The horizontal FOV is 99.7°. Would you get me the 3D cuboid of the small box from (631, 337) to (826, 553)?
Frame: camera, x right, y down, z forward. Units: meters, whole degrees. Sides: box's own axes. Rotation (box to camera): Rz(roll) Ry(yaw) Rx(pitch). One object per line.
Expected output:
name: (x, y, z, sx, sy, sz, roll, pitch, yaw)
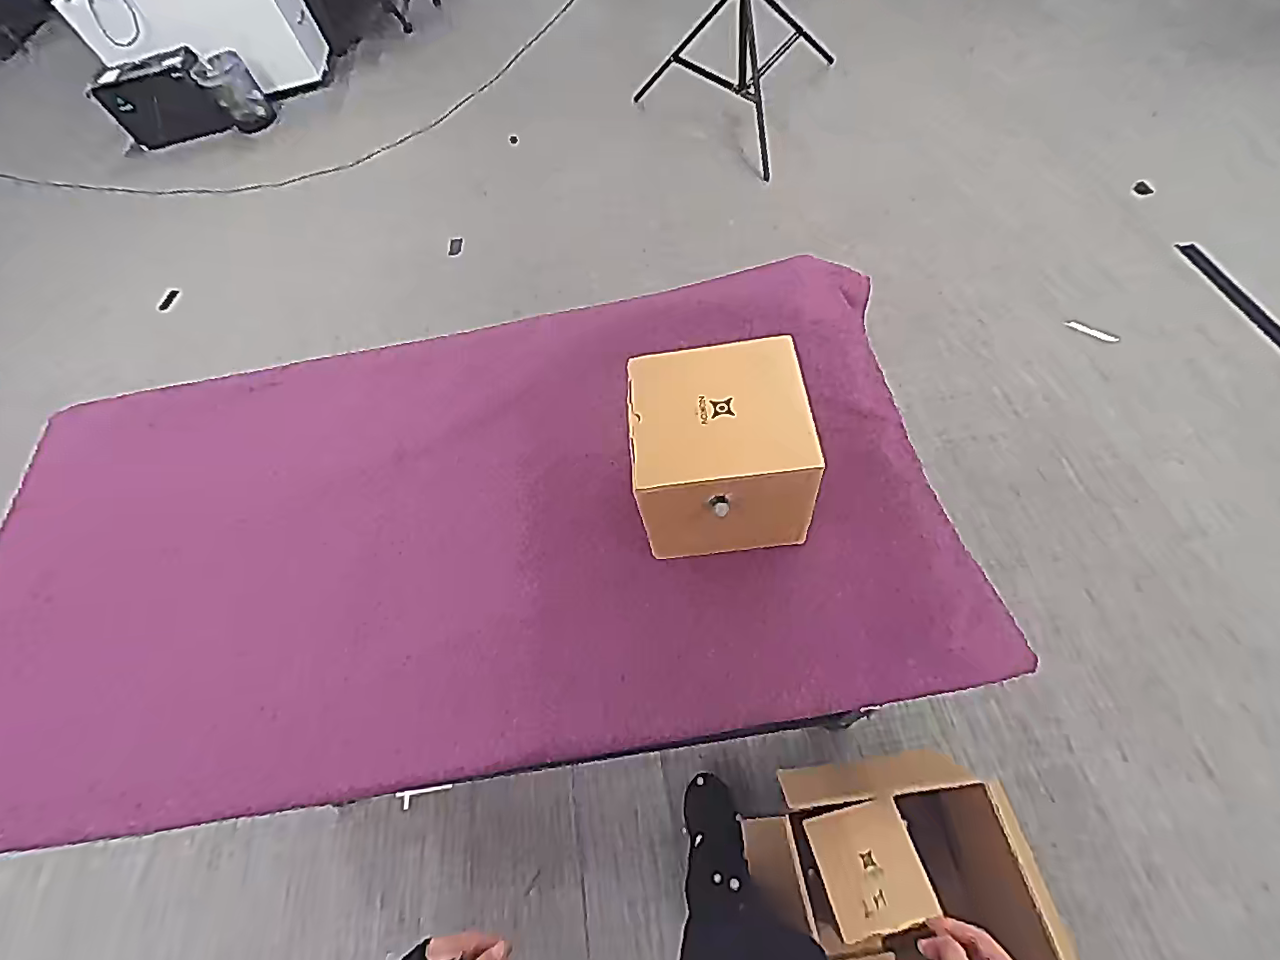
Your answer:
small box: (0.091, -0.030, 0.602, 0.179, 0.176, 0.168, -7, 59, 7)
